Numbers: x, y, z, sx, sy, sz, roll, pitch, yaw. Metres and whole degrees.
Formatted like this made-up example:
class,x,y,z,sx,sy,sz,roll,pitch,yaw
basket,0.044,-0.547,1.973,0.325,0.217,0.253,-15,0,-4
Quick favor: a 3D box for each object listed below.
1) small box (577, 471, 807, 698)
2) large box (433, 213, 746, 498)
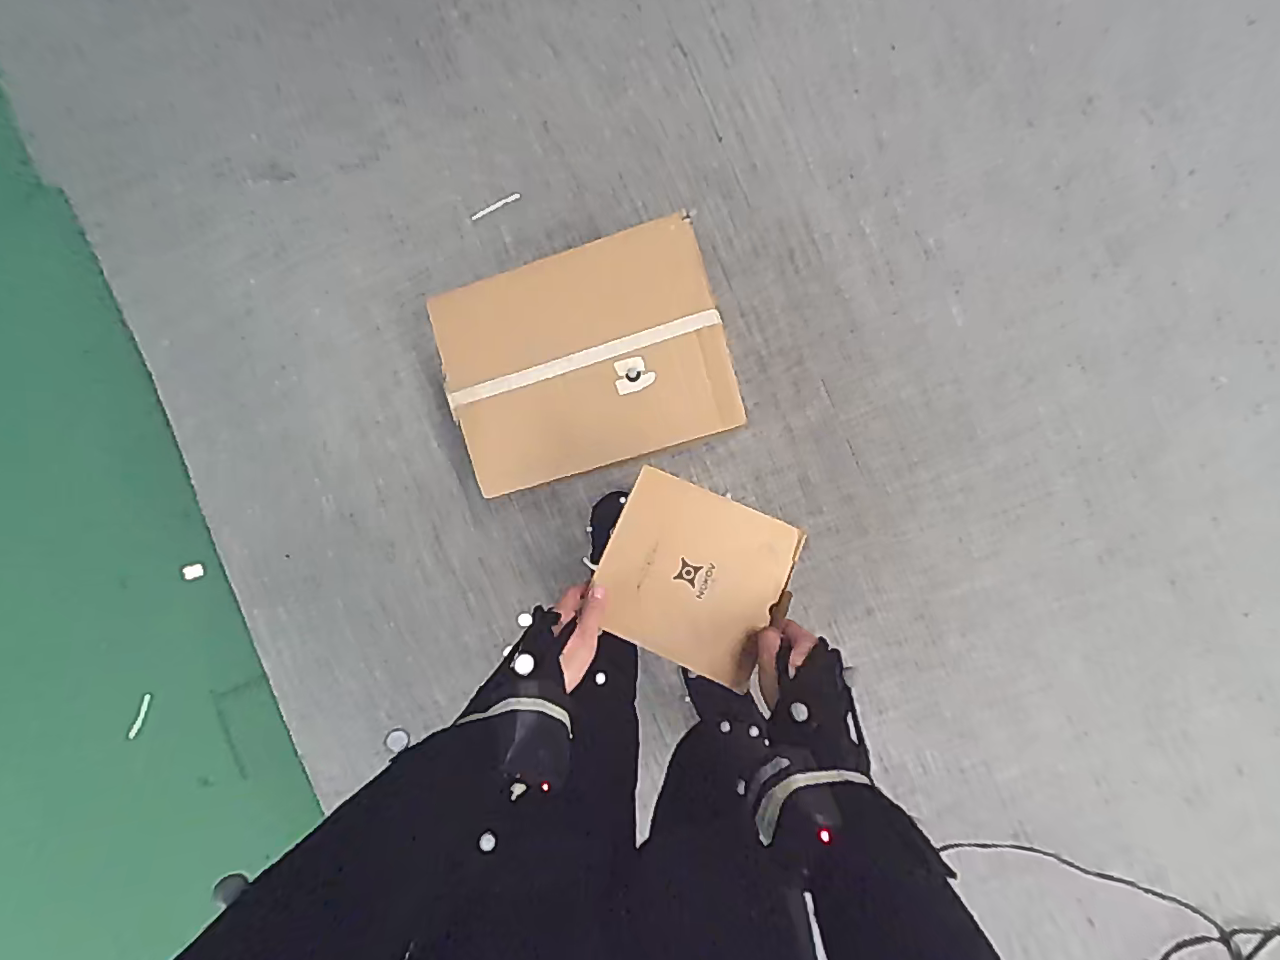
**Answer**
class,x,y,z,sx,sy,sz,roll,pitch,yaw
small box,0.054,0.110,0.594,0.179,0.176,0.168,22,80,7
large box,-0.066,-0.177,0.928,0.408,0.320,0.320,-16,91,6
